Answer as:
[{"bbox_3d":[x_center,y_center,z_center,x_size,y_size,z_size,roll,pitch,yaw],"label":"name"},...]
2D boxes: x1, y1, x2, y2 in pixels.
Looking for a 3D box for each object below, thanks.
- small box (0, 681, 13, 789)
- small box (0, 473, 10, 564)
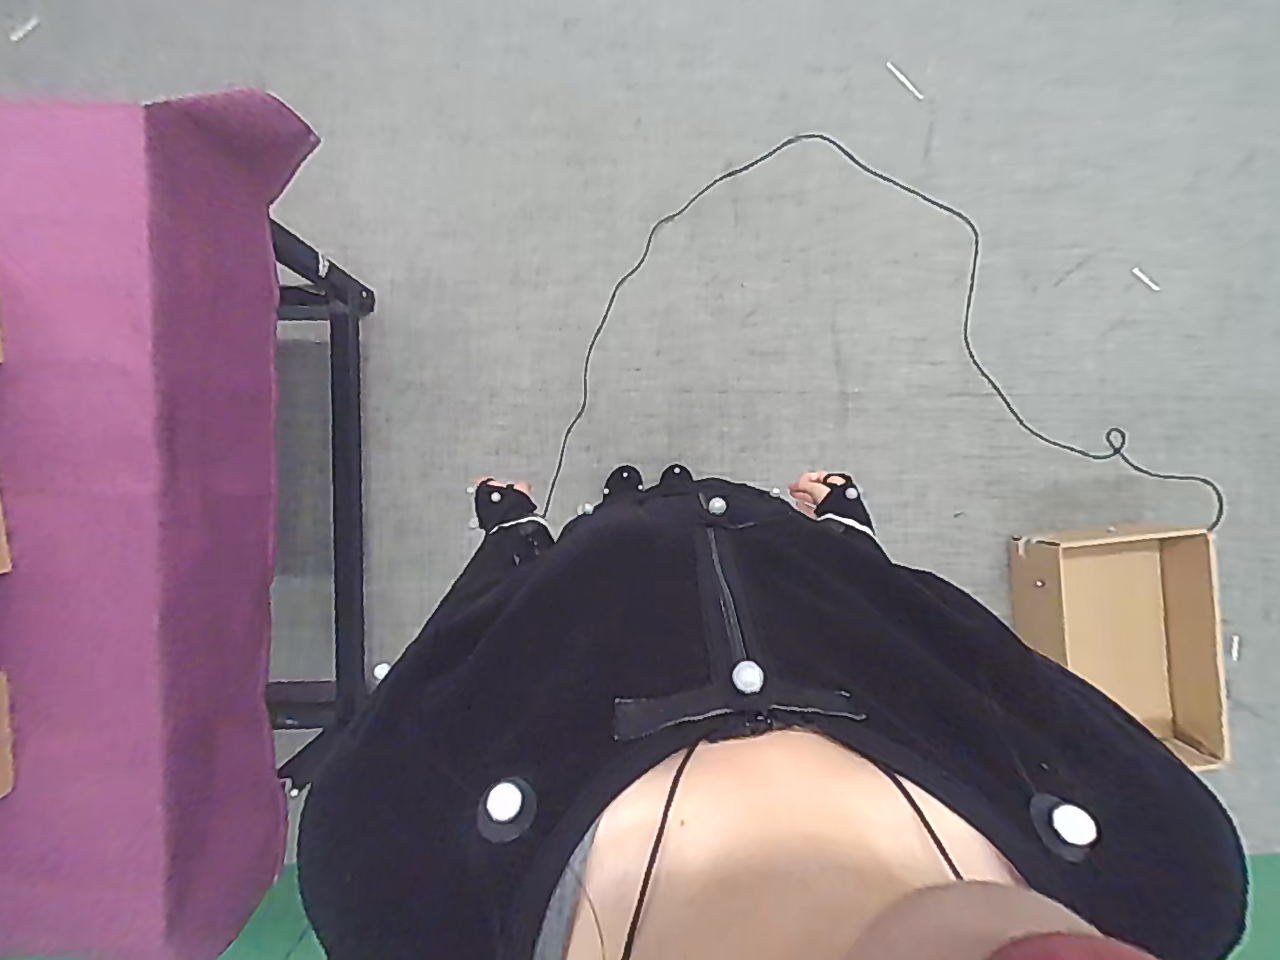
[{"bbox_3d":[-0.978,0.355,0.692,0.168,0.176,0.179,-2,91,-1],"label":"small box"},{"bbox_3d":[-0.990,0.056,0.688,0.179,0.176,0.168,-8,92,-1],"label":"small box"}]
